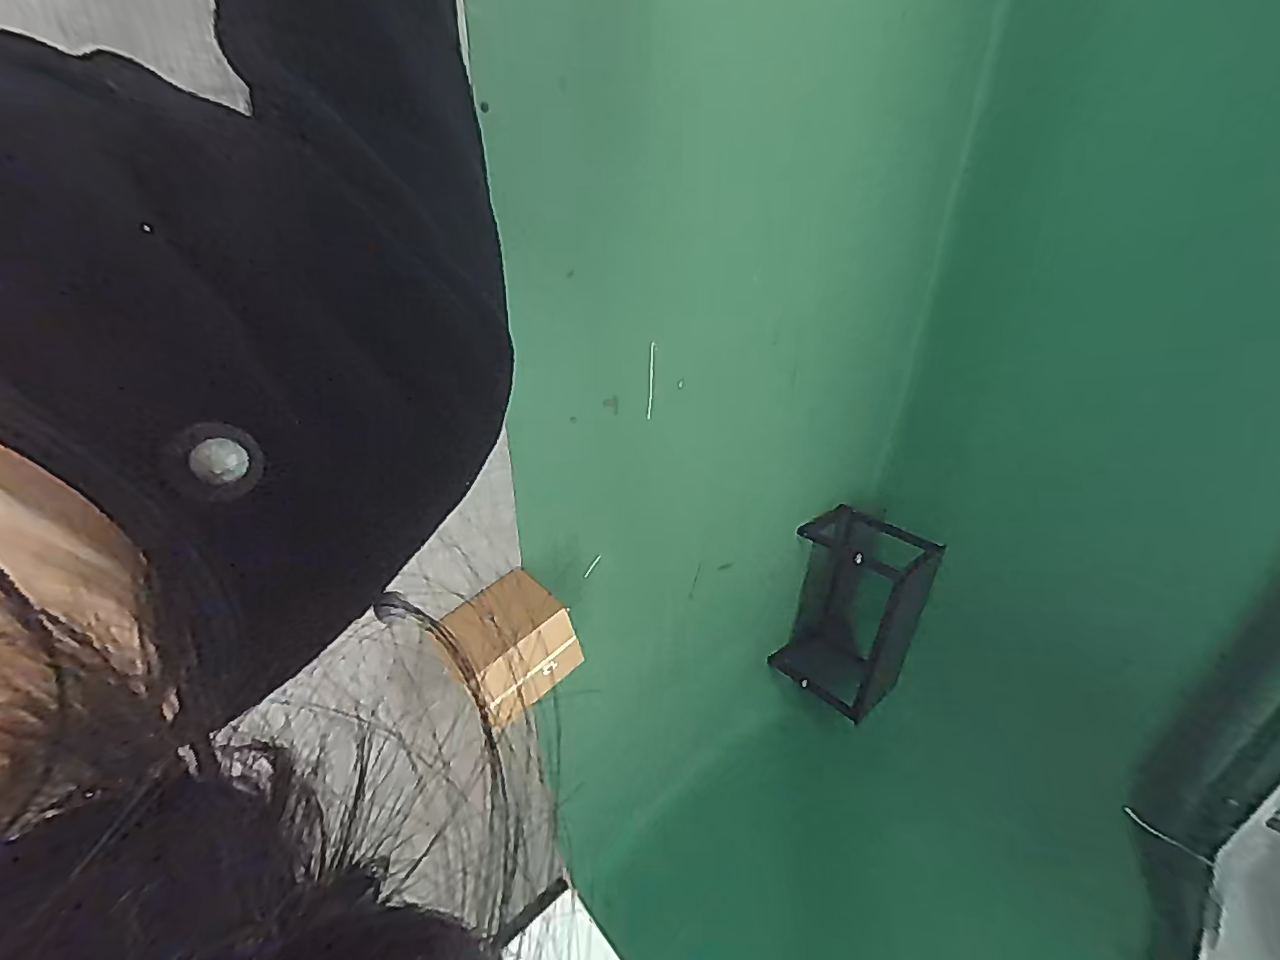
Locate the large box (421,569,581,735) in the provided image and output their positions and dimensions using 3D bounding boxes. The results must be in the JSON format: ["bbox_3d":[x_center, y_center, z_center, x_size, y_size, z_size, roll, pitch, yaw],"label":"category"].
[{"bbox_3d":[-0.488,0.598,1.935,0.408,0.320,0.320,-36,134,-29],"label":"large box"}]
